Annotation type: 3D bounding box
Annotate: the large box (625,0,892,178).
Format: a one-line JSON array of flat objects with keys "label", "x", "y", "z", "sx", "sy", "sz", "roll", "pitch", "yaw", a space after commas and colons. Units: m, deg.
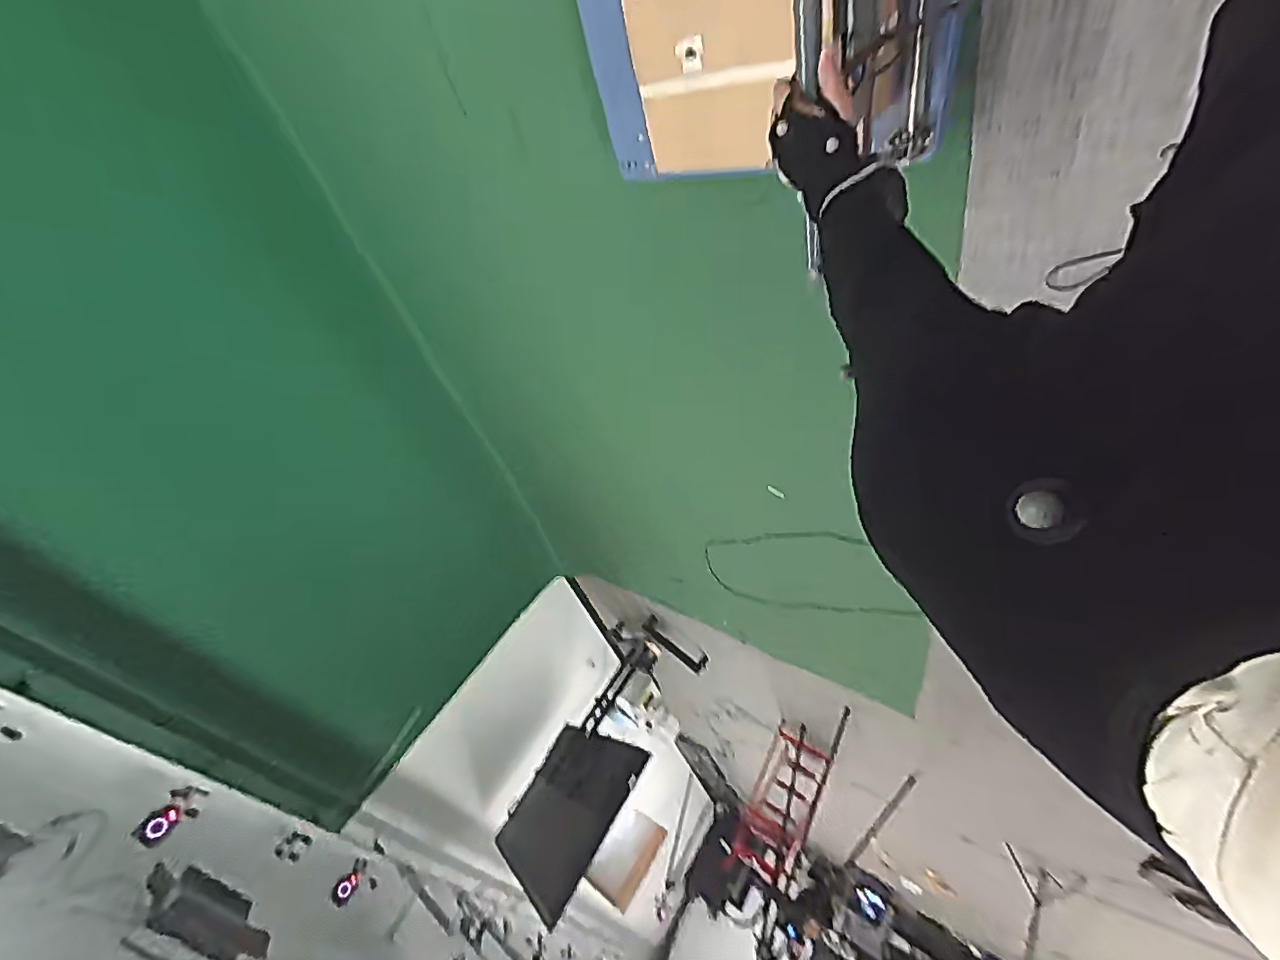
[{"label": "large box", "x": 0.247, "y": -0.833, "z": 1.074, "sx": 0.408, "sy": 0.320, "sz": 0.320, "roll": 19, "pitch": 144, "yaw": 33}]
